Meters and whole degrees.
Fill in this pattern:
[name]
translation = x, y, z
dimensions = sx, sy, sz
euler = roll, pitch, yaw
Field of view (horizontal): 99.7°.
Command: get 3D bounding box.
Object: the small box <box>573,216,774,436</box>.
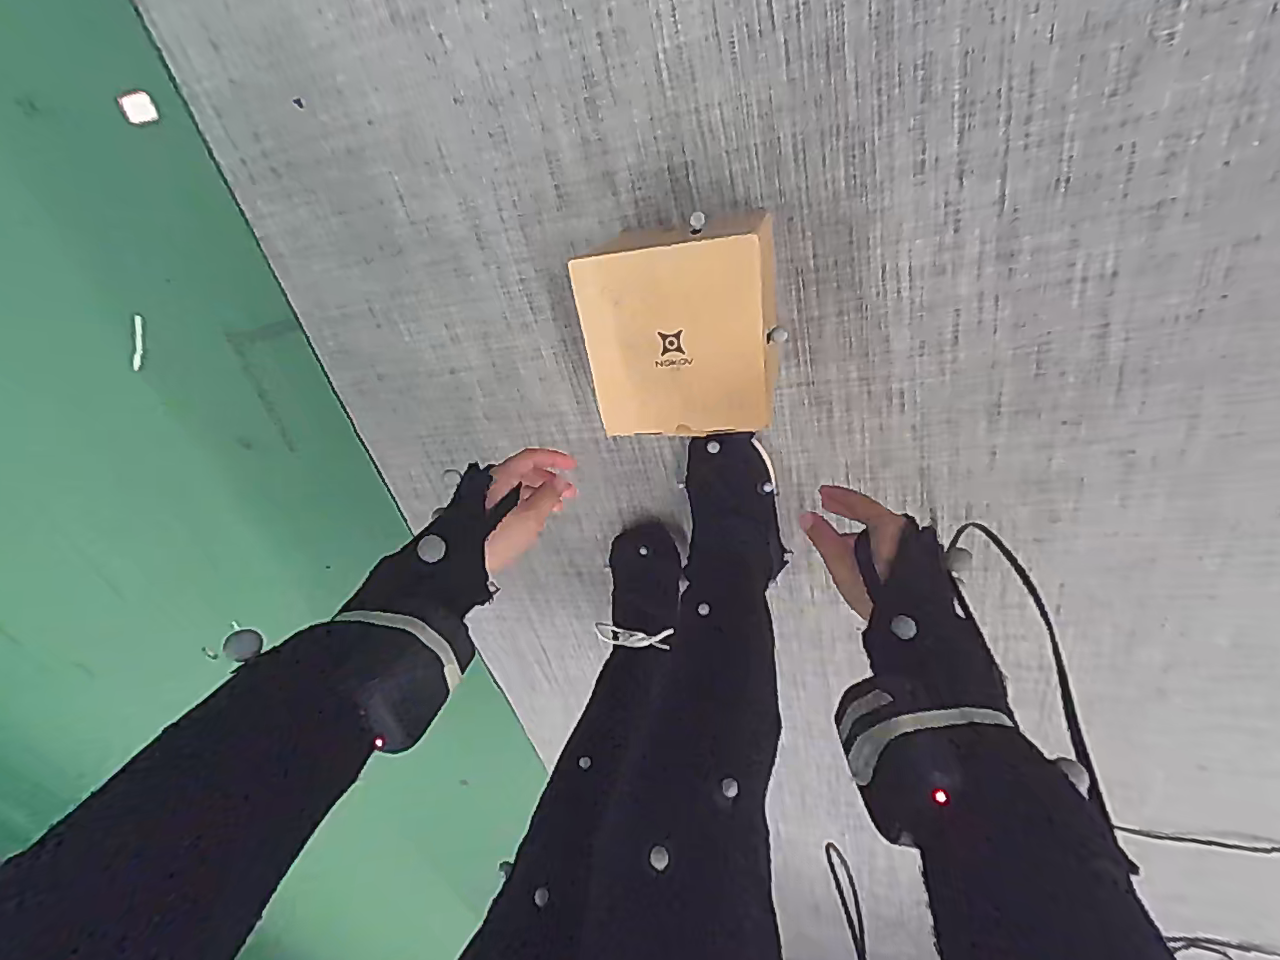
[small box]
translation = 0.049, -0.163, 0.556
dimensions = 0.168, 0.176, 0.179
euler = -1, 122, 17
